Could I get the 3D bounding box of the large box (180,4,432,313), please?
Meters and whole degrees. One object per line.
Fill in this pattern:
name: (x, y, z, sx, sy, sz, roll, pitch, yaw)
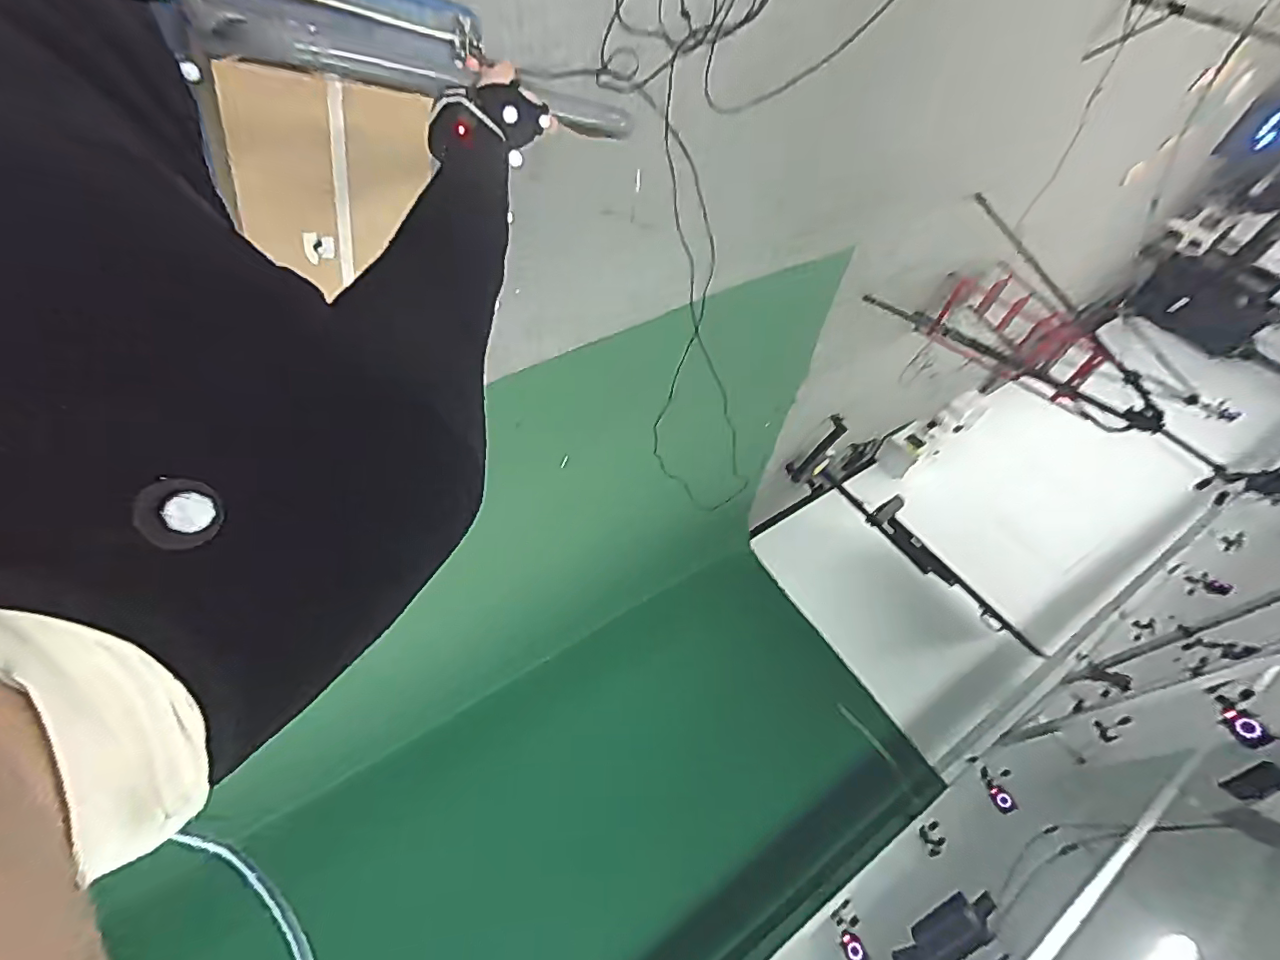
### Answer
large box: (-0.615, -0.590, 1.041, 0.320, 0.320, 0.408, -16, 145, -35)
